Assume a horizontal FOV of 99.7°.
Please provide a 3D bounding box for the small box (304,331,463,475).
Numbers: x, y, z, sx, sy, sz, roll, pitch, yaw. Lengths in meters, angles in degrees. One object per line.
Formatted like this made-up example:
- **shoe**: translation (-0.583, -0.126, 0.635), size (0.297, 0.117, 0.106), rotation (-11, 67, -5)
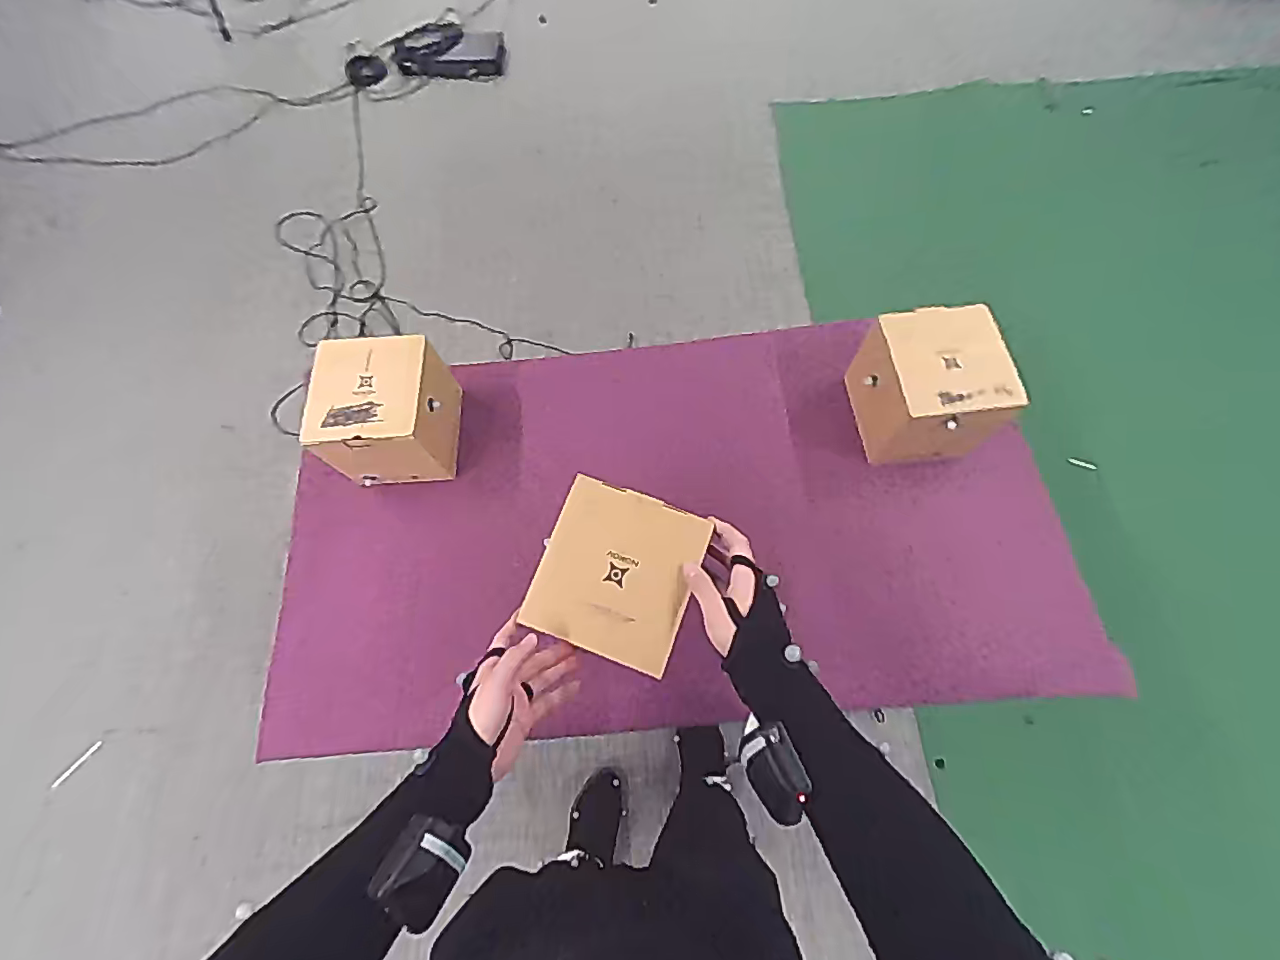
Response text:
- **small box**: translation (-0.394, -0.113, 0.865), size (0.168, 0.176, 0.179), rotation (-3, 69, 1)

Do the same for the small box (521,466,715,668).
- **small box**: translation (-0.020, 0.107, 0.660), size (0.168, 0.176, 0.179), rotation (20, 78, 8)

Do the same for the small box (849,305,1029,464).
- **small box**: translation (0.445, -0.143, 0.842), size (0.168, 0.176, 0.179), rotation (-6, 67, 1)
